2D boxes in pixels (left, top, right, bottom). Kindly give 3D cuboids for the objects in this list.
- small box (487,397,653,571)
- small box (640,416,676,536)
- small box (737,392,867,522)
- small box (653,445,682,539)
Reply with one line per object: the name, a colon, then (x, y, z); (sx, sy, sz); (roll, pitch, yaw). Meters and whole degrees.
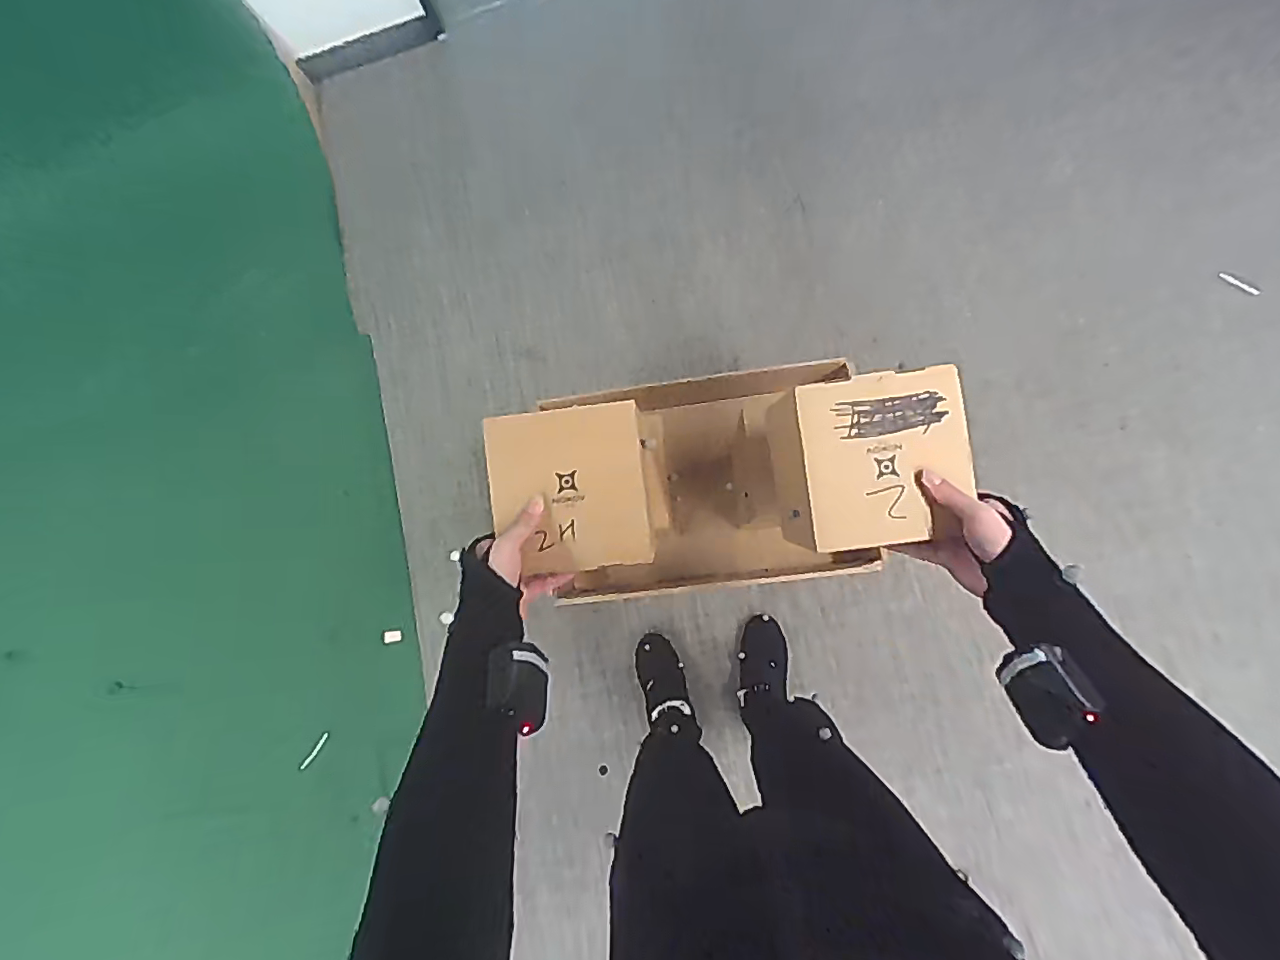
small box: (-0.074, 0.007, 0.659); (0.168, 0.176, 0.179); (-6, 89, 3)
small box: (-0.031, 0.005, 0.909); (0.168, 0.176, 0.179); (-6, 81, 6)
small box: (0.250, -0.026, 0.874); (0.168, 0.176, 0.179); (-6, 79, 6)
small box: (-0.013, 0.034, 1.070); (0.179, 0.176, 0.168); (-4, 81, 6)
